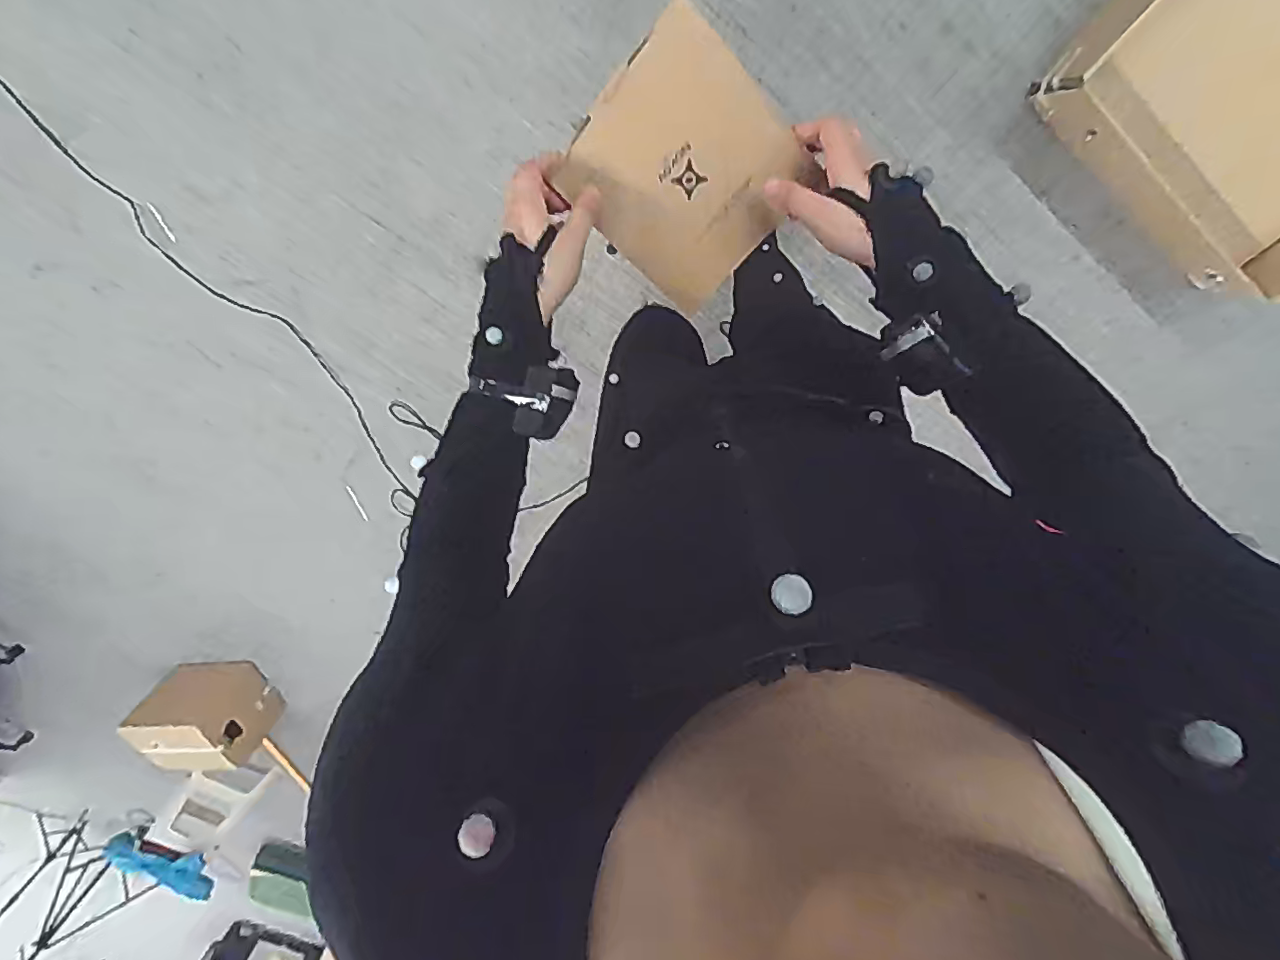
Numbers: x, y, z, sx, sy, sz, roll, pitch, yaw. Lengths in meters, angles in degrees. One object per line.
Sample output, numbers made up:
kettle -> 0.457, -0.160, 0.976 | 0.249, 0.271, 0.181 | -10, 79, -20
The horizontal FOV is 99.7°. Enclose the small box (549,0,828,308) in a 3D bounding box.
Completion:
small box -> 0.038, -0.302, 0.512 | 0.179, 0.176, 0.168 | 35, 118, -24
